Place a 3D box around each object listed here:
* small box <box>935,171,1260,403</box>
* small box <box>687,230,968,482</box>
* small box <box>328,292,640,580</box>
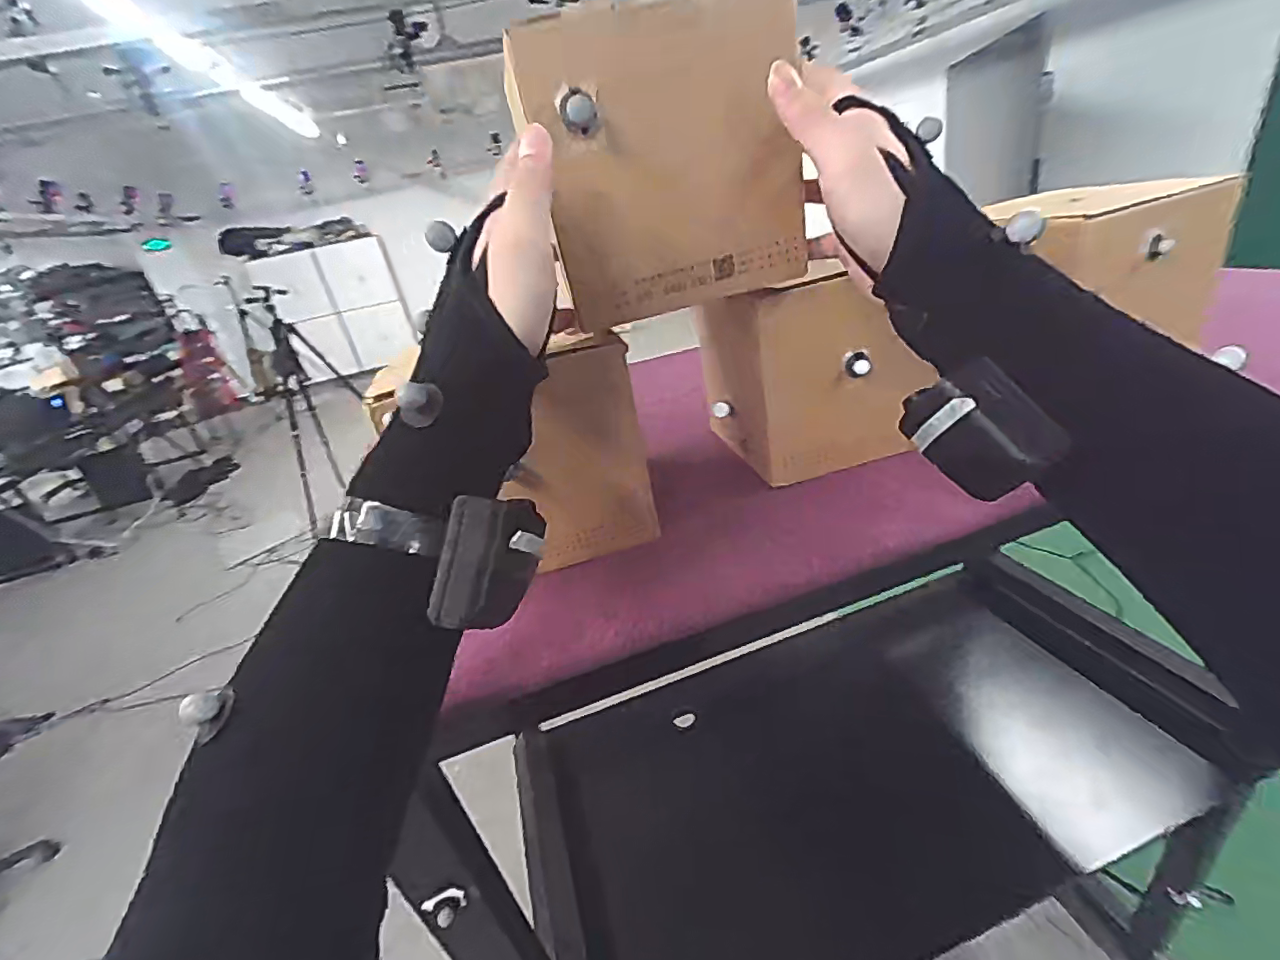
[{"bbox_3d":[0.419,-0.187,0.532,0.179,0.176,0.168,-15,28,-9],"label":"small box"},{"bbox_3d":[0.155,-0.119,0.493,0.179,0.176,0.168,-14,27,-6],"label":"small box"},{"bbox_3d":[-0.110,-0.043,0.442,0.179,0.176,0.168,-14,29,-8],"label":"small box"}]
